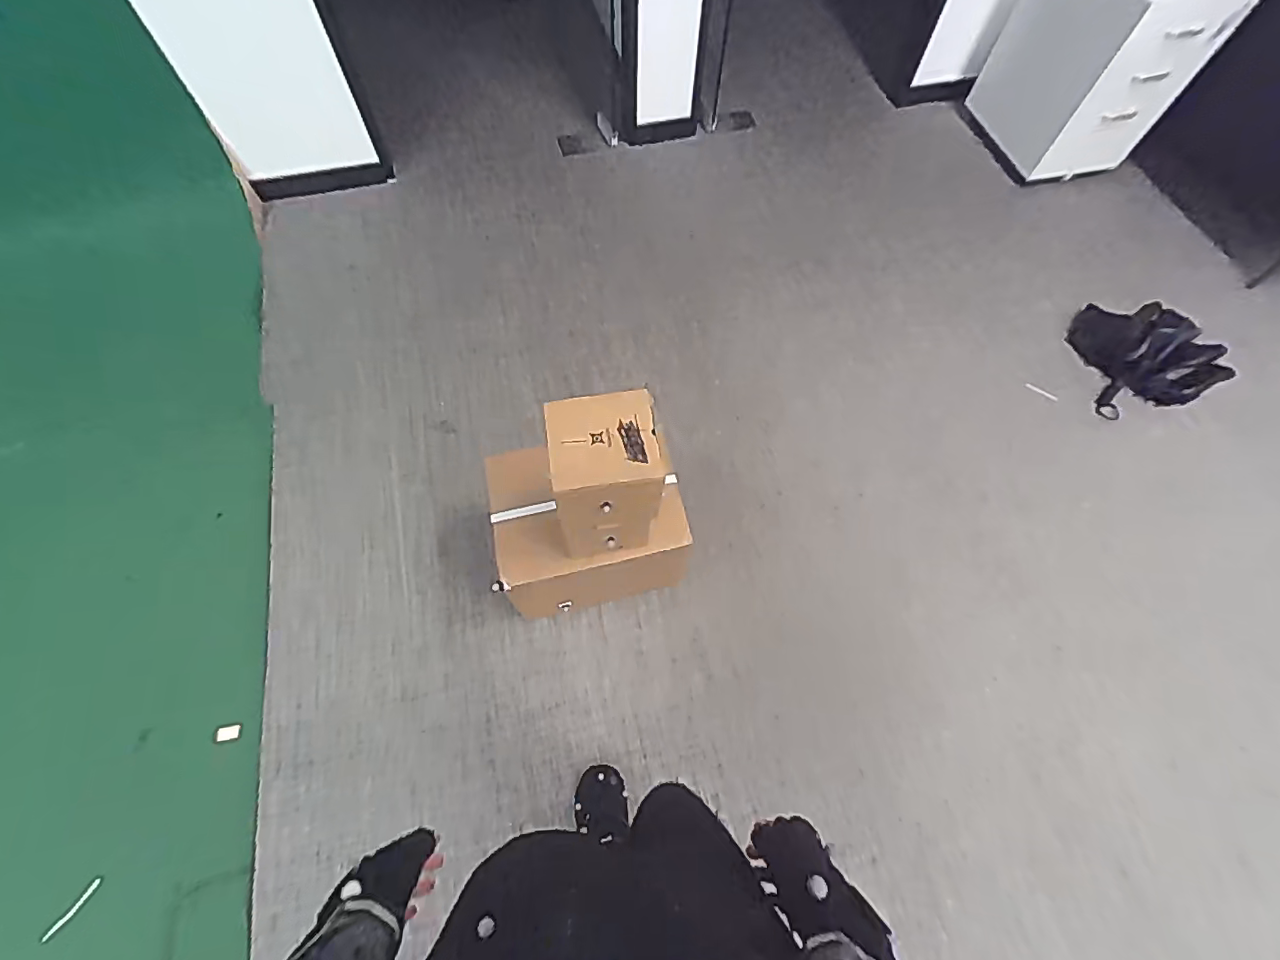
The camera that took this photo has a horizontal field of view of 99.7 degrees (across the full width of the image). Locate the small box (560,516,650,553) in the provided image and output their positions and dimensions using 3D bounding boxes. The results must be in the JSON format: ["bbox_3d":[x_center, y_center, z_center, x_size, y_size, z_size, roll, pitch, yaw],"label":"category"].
[{"bbox_3d":[-0.077,0.038,1.076,0.168,0.176,0.179,-10,66,-6],"label":"small box"}]

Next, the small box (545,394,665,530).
[{"bbox_3d":[-0.061,-0.026,0.924,0.179,0.176,0.168,-8,65,-4],"label":"small box"}]
